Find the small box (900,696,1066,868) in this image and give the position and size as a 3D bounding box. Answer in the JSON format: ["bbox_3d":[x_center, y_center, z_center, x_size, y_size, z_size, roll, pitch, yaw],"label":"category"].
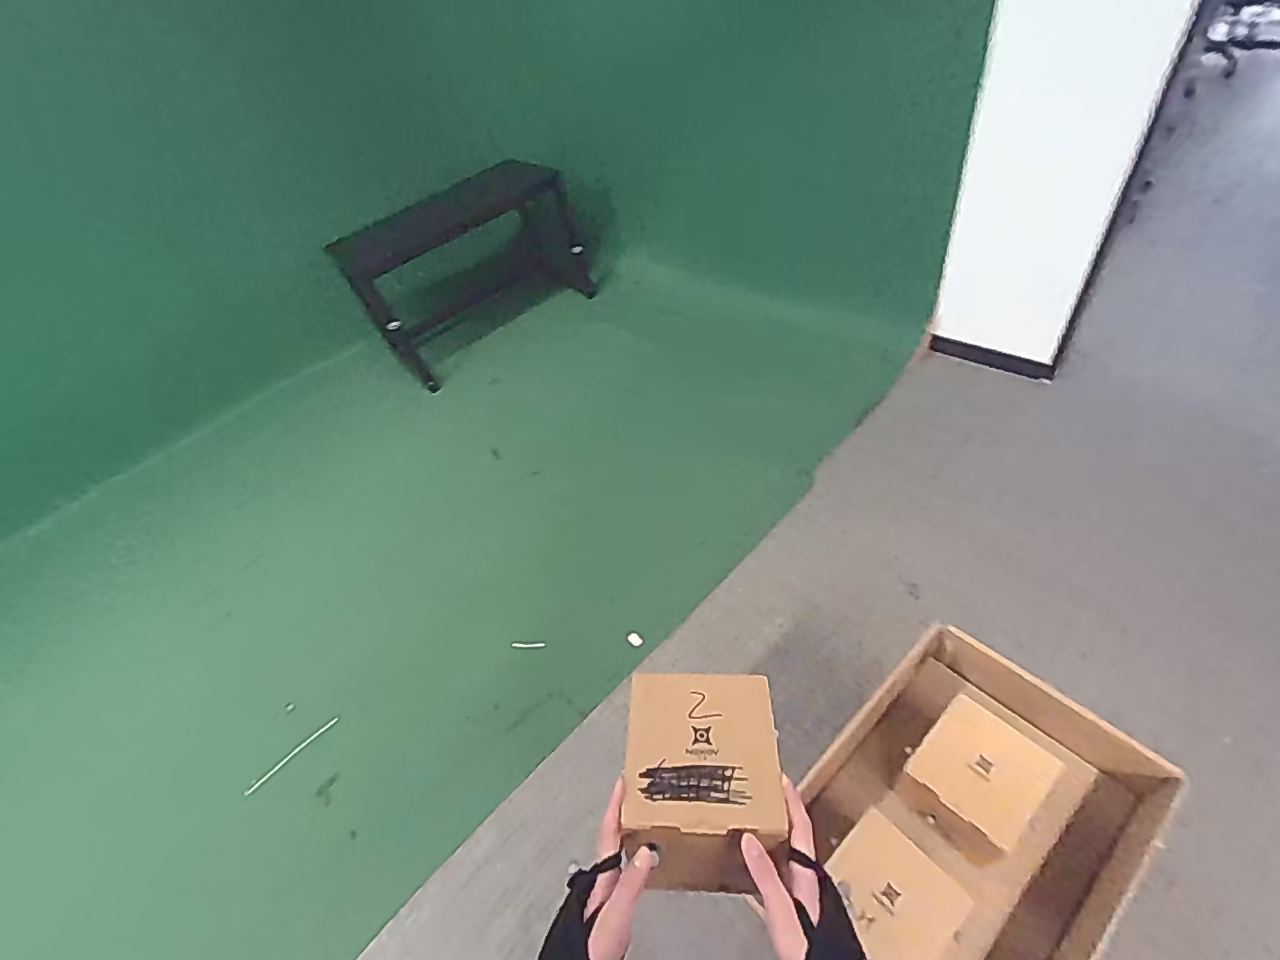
[{"bbox_3d":[0.565,0.512,0.917,0.179,0.176,0.168,-40,50,-19],"label":"small box"}]

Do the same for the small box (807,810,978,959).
[{"bbox_3d":[0.374,0.658,0.831,0.179,0.176,0.168,-38,48,-19],"label":"small box"}]
